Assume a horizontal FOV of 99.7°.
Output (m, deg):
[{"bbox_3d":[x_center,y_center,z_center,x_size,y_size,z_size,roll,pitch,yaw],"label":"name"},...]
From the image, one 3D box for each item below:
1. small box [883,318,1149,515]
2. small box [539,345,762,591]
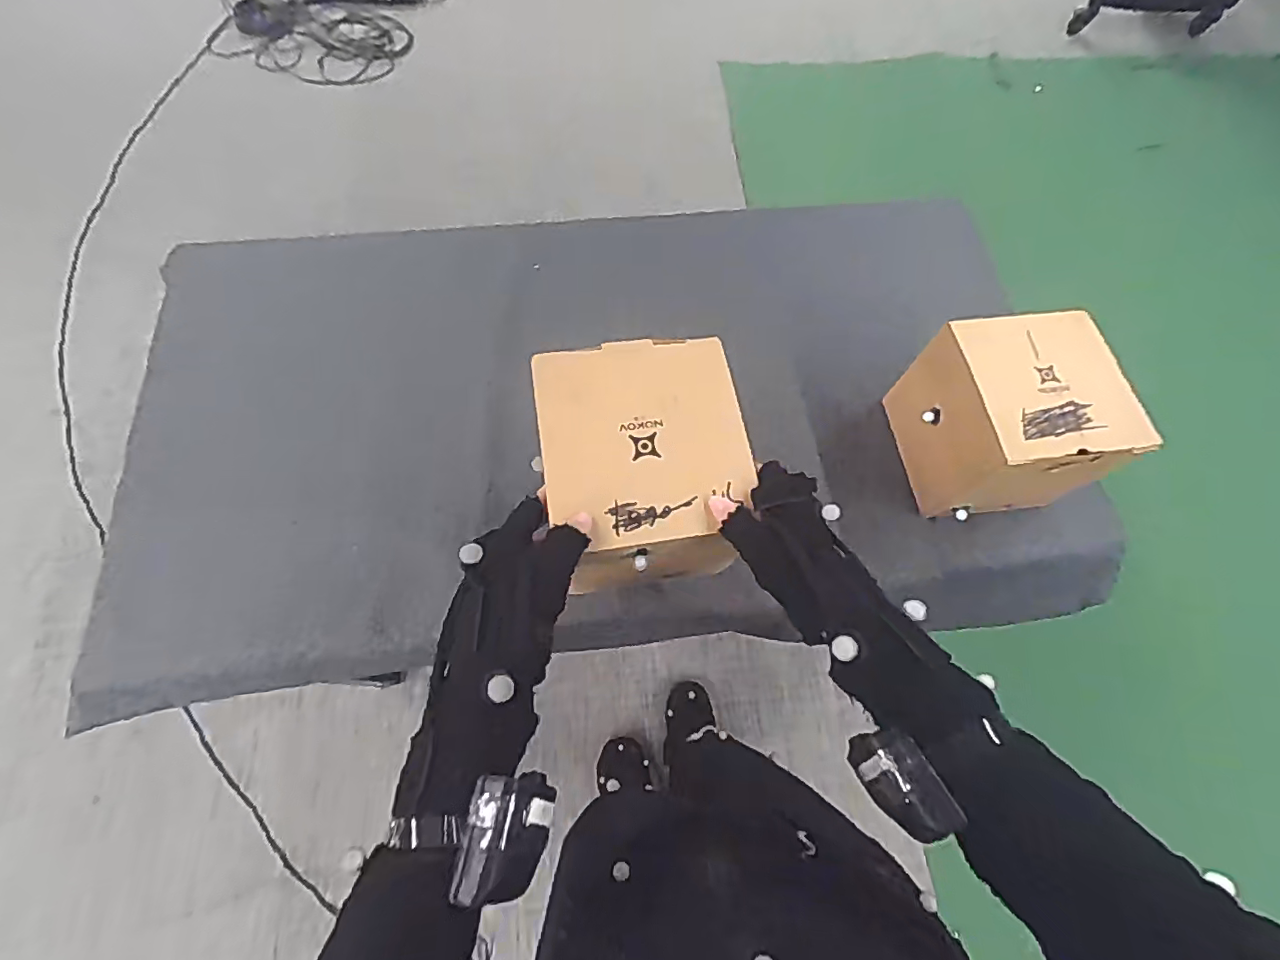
[{"bbox_3d":[0.422,-0.065,0.645,0.168,0.176,0.179,-5,66,-4],"label":"small box"},{"bbox_3d":[-0.001,-0.003,0.517,0.168,0.176,0.179,-7,70,-6],"label":"small box"}]
